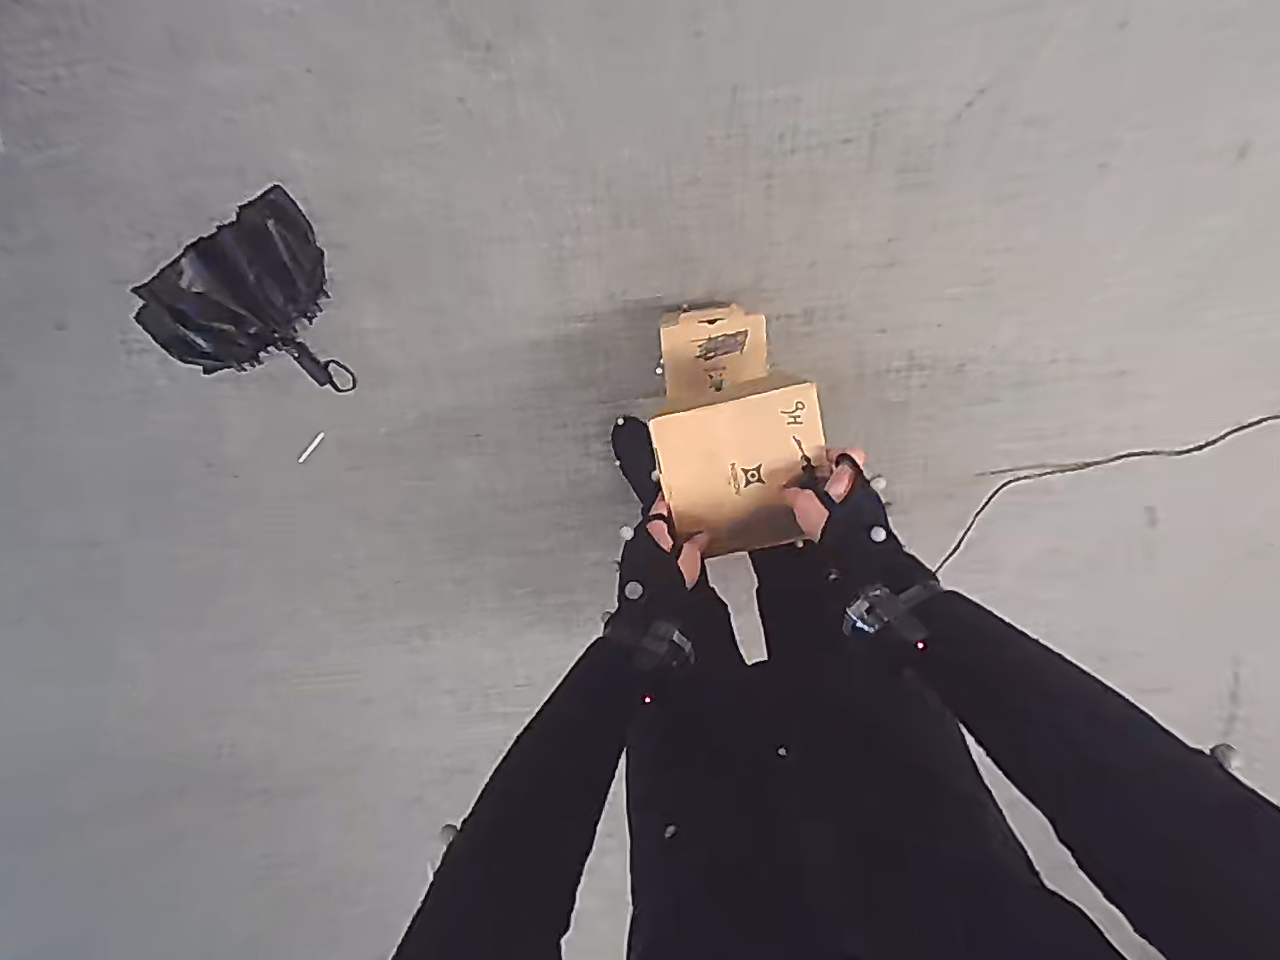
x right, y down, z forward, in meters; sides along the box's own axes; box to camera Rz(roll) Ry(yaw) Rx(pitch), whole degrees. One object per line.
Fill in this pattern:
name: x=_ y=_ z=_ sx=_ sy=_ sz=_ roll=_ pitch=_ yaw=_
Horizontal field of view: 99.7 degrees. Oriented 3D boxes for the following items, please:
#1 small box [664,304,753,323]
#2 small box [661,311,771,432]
small box: x=0.139 y=-0.255 z=1.088 sx=0.168 sy=0.176 sz=0.179 roll=-7 pitch=110 yaw=6
small box: x=0.126 y=-0.194 z=0.935 sx=0.168 sy=0.176 sz=0.179 roll=-6 pitch=110 yaw=5
